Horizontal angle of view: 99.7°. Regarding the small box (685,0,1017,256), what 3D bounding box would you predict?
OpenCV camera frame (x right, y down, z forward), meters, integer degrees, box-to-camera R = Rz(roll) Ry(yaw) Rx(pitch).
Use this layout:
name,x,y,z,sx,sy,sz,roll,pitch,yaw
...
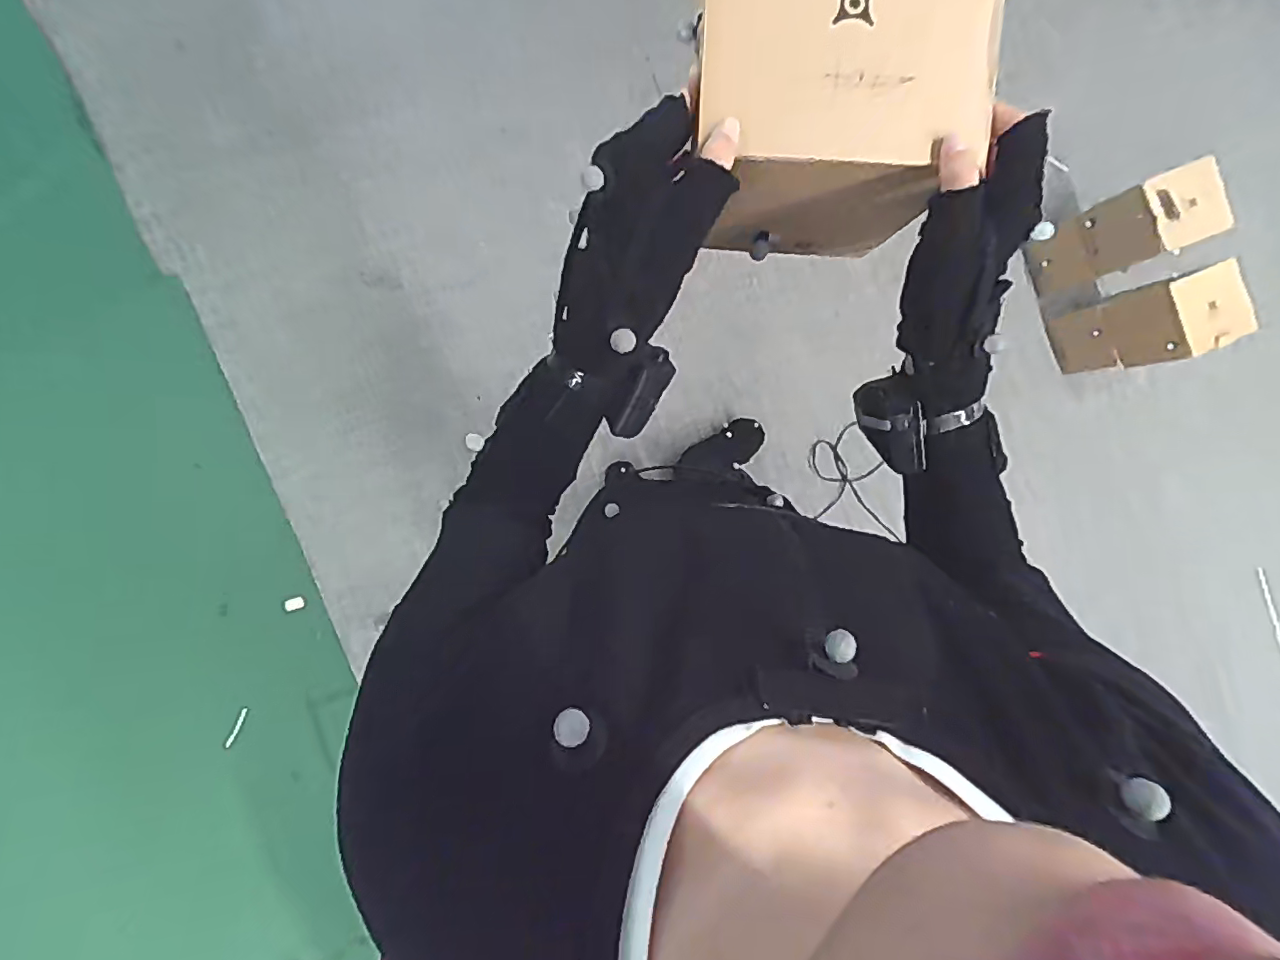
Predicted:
name,x,y,z,sx,sy,sz,roll,pitch,yaw
small box,0.123,-0.274,0.373,0.168,0.176,0.179,3,97,0

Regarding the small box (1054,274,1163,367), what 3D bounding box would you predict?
name,x,y,z,sx,sy,sz,roll,pitch,yaw
small box,1.252,-0.413,1.421,0.179,0.176,0.168,-23,94,-2

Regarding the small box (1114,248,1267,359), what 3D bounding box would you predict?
name,x,y,z,sx,sy,sz,roll,pitch,yaw
small box,1.266,-0.400,1.258,0.168,0.176,0.179,-24,95,-1
